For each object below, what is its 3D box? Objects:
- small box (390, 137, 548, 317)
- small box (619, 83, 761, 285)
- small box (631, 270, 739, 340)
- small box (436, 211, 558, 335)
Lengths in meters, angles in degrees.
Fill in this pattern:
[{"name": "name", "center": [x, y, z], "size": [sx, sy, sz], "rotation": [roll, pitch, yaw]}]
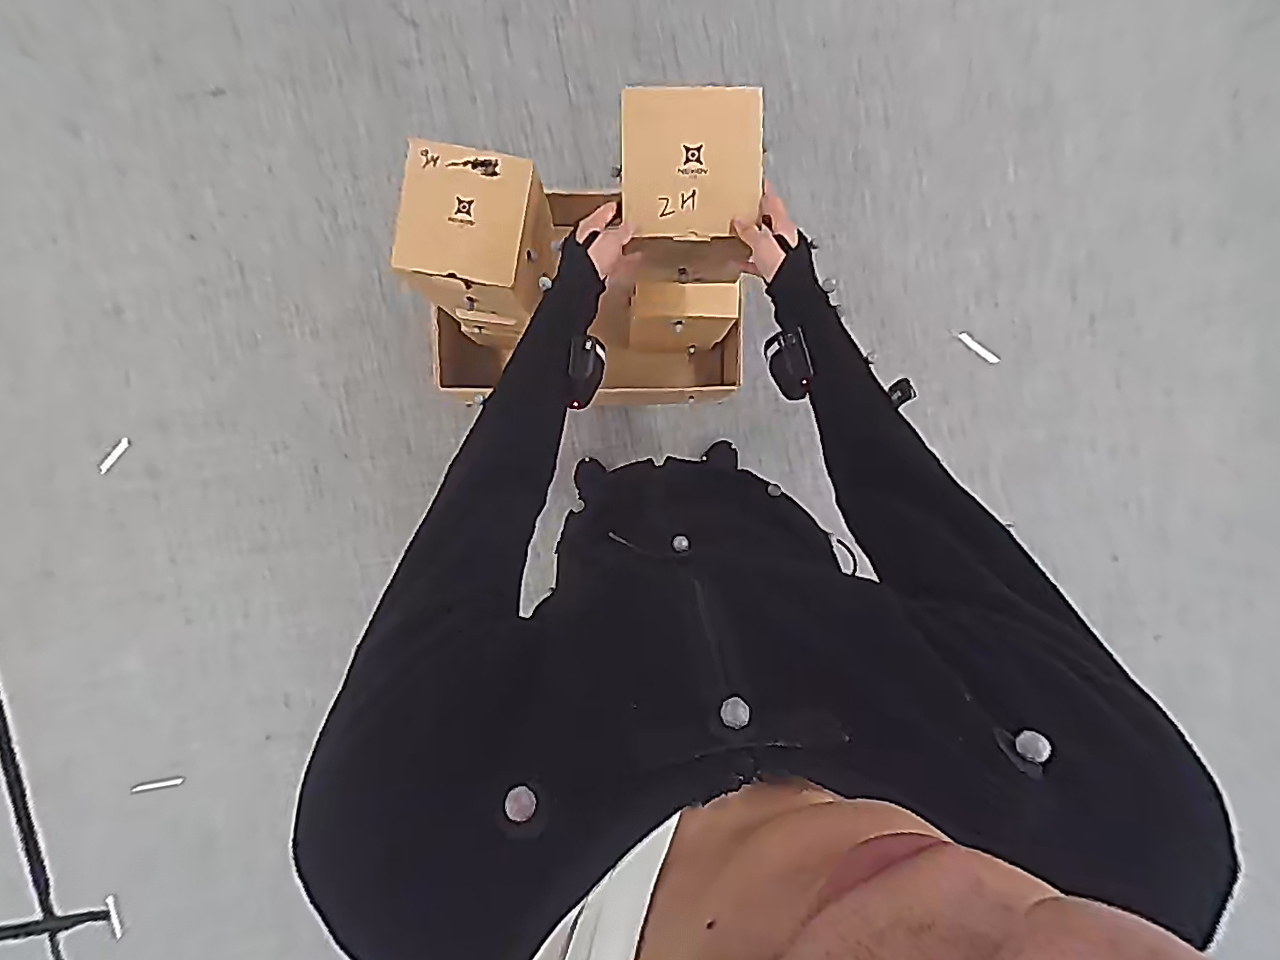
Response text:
[{"name": "small box", "center": [-0.238, -0.353, 0.791], "size": [0.168, 0.176, 0.179], "rotation": [11, 92, -2]}, {"name": "small box", "center": [0.056, -0.372, 0.706], "size": [0.168, 0.176, 0.179], "rotation": [1, 93, 0]}, {"name": "small box", "center": [0.074, -0.352, 0.964], "size": [0.179, 0.176, 0.168], "rotation": [2, 92, 0]}, {"name": "small box", "center": [-0.242, -0.366, 0.955], "size": [0.168, 0.176, 0.179], "rotation": [7, 91, -2]}]
